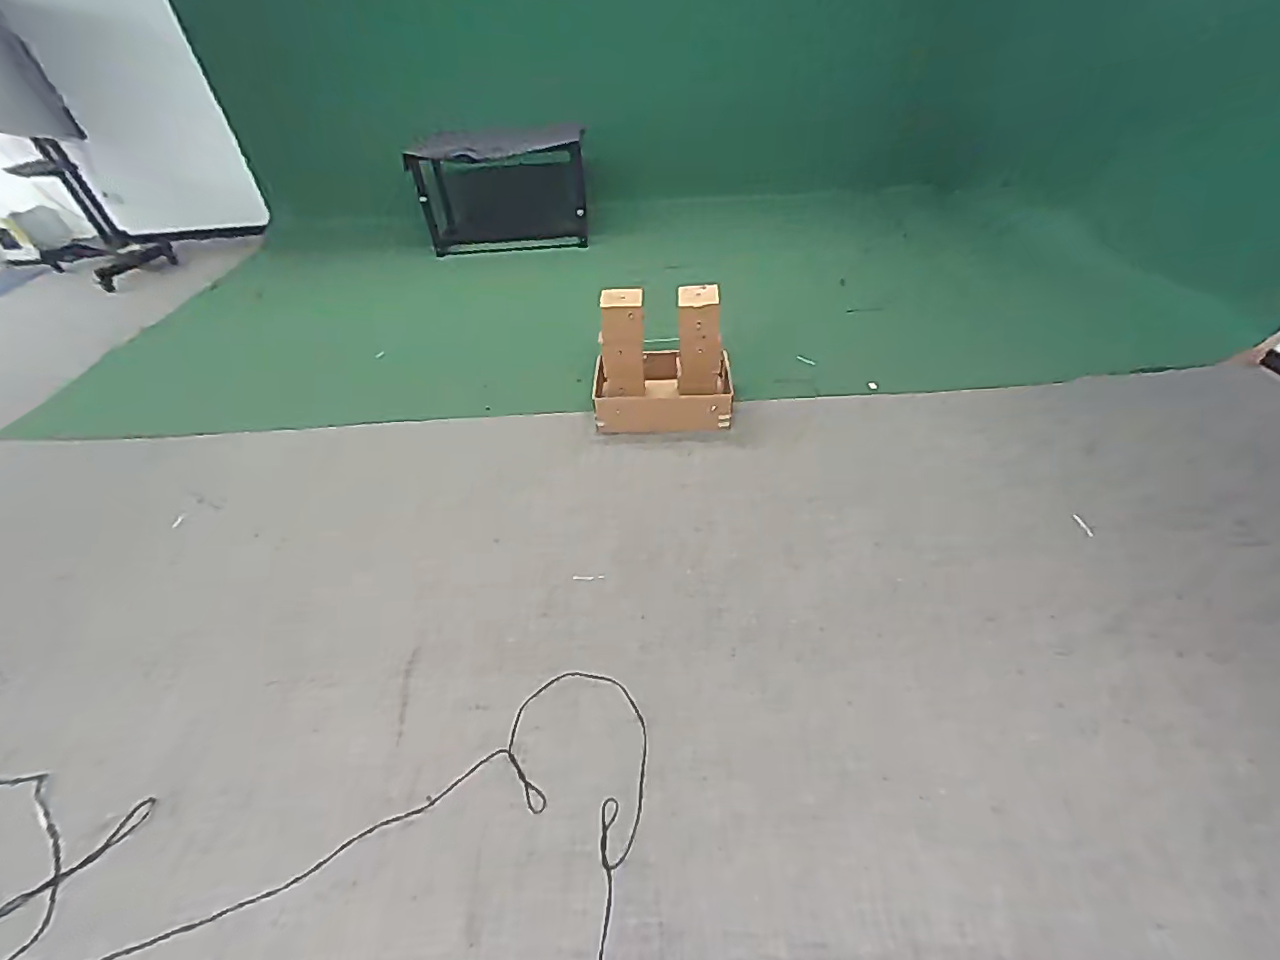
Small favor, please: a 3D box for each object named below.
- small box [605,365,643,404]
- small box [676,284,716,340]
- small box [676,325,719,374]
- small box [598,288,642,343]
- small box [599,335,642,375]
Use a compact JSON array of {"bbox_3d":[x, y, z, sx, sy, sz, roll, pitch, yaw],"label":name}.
[{"bbox_3d":[-0.071,-0.467,2.531,0.168,0.176,0.179,-2,44,1],"label":"small box"},{"bbox_3d":[0.238,-0.704,2.279,0.168,0.176,0.179,-1,46,6],"label":"small box"},{"bbox_3d":[0.254,-0.580,2.386,0.179,0.176,0.168,-3,45,2],"label":"small box"},{"bbox_3d":[-0.080,-0.697,2.295,0.179,0.176,0.168,-2,43,2],"label":"small box"},{"bbox_3d":[-0.083,-0.579,2.411,0.179,0.176,0.168,-1,44,2],"label":"small box"}]
